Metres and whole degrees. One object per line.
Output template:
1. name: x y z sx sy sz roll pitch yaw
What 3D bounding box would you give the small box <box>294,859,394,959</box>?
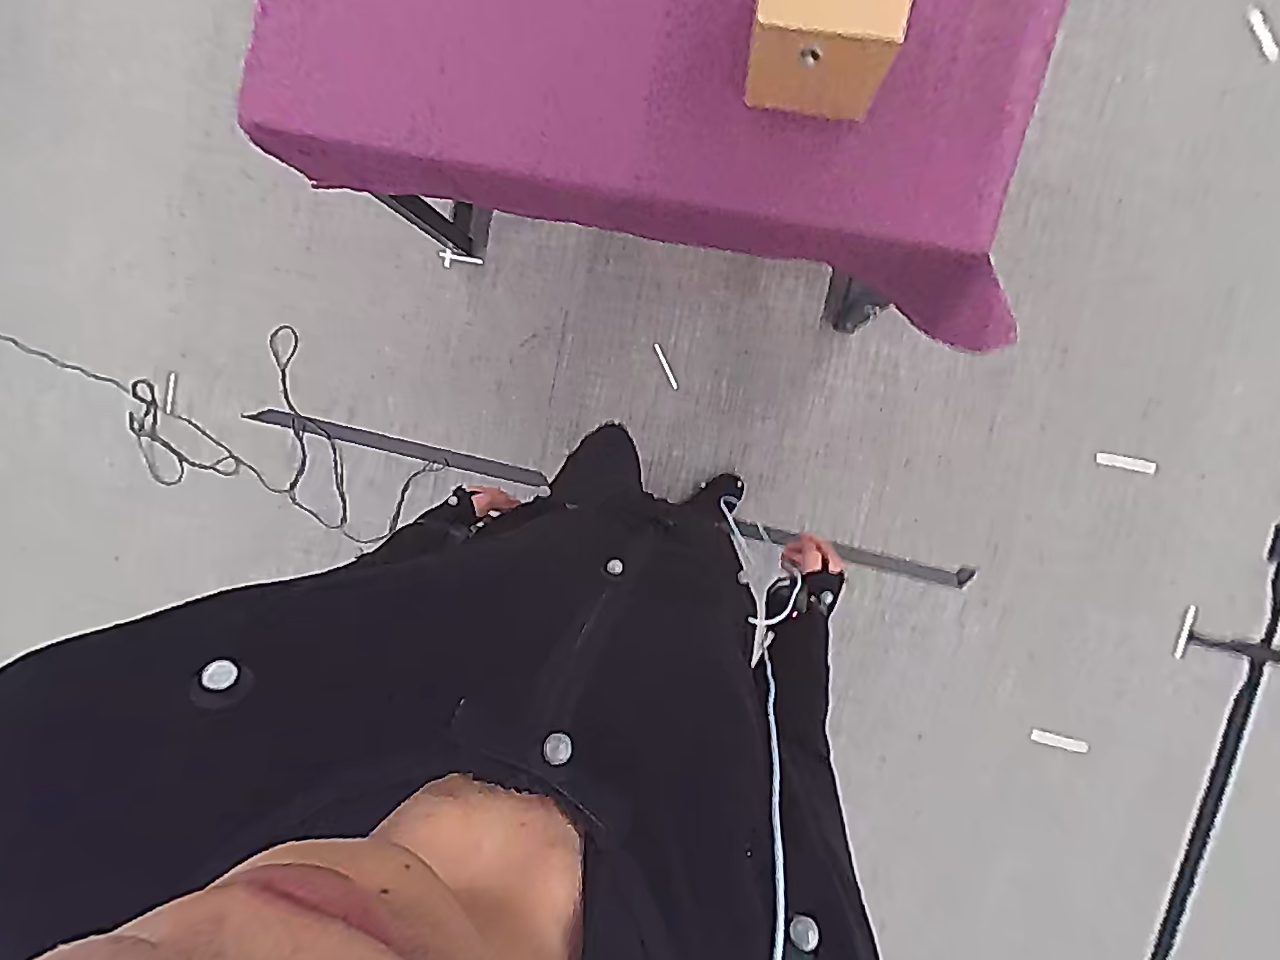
1. small box: -0.855 1.252 1.572 0.179 0.176 0.168 15 94 6

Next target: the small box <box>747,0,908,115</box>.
1. small box: 0.244 -0.617 0.710 0.179 0.176 0.168 12 96 5
